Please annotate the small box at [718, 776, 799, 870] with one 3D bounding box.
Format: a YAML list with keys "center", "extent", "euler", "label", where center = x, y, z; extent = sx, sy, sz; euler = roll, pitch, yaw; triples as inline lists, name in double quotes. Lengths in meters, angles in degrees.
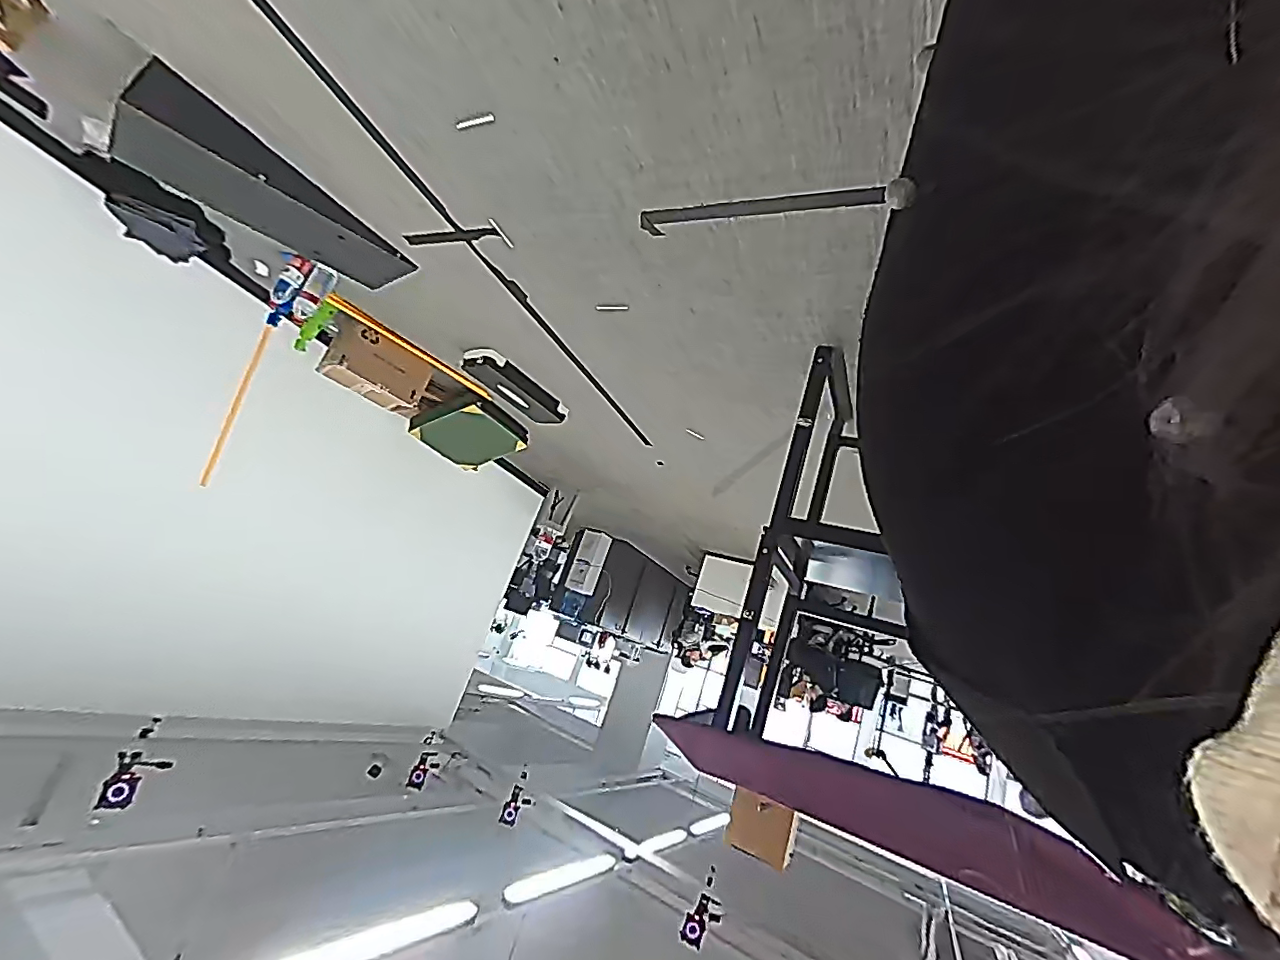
- center: [0.349, 0.985, 1.572]
  extent: [0.179, 0.176, 0.168]
  euler: [11, 162, 27]
  label: "small box"
